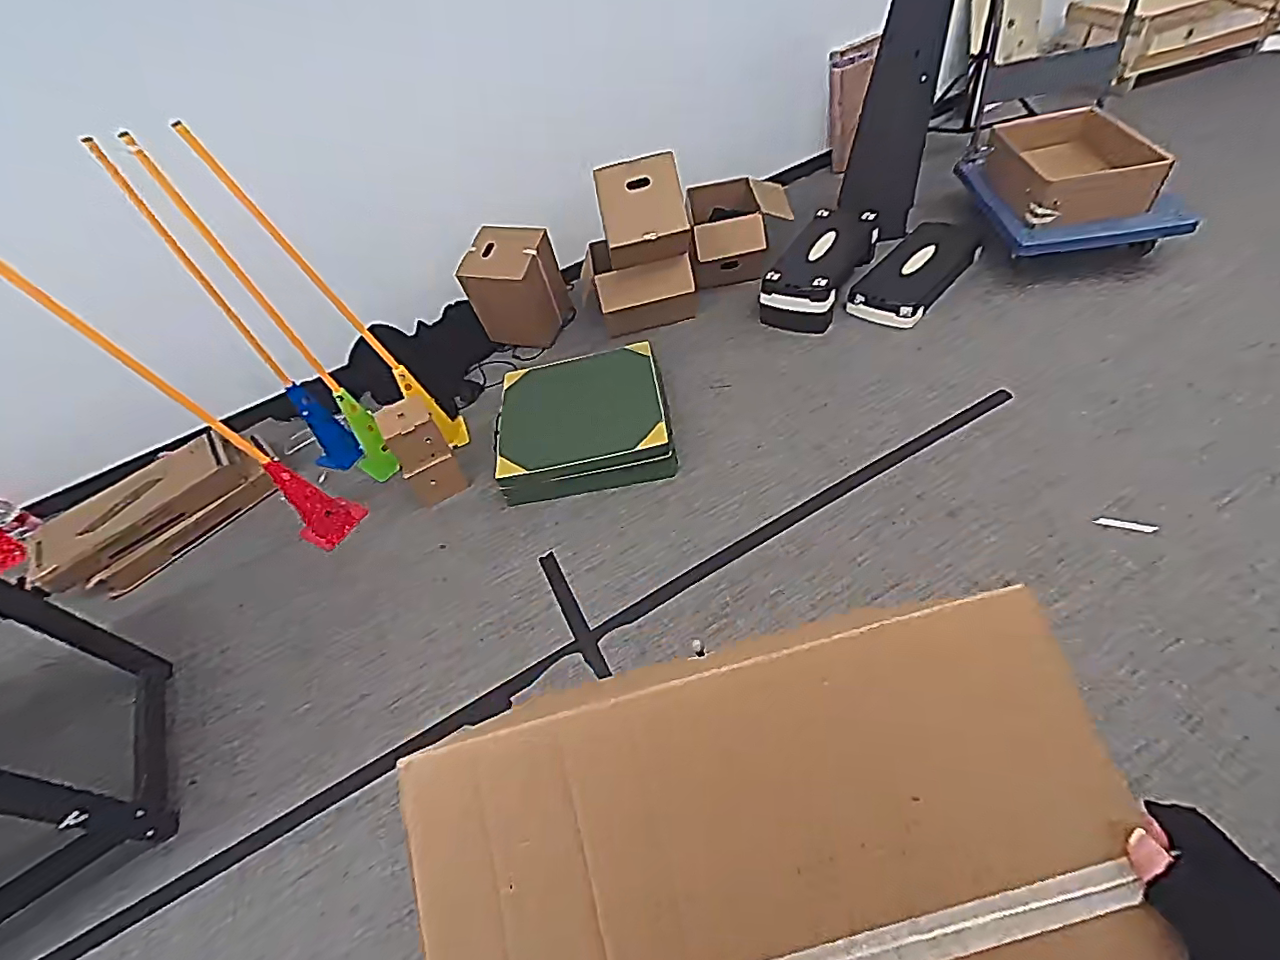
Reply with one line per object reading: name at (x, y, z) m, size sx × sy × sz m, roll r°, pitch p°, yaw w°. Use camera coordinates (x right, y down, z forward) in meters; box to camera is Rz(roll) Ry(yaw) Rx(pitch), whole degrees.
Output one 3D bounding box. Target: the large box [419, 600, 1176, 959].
large box at (0.100, 0.310, 0.447) m, size 0.408 × 0.320 × 0.320 m, roll -16°, pitch 74°, yaw -1°
